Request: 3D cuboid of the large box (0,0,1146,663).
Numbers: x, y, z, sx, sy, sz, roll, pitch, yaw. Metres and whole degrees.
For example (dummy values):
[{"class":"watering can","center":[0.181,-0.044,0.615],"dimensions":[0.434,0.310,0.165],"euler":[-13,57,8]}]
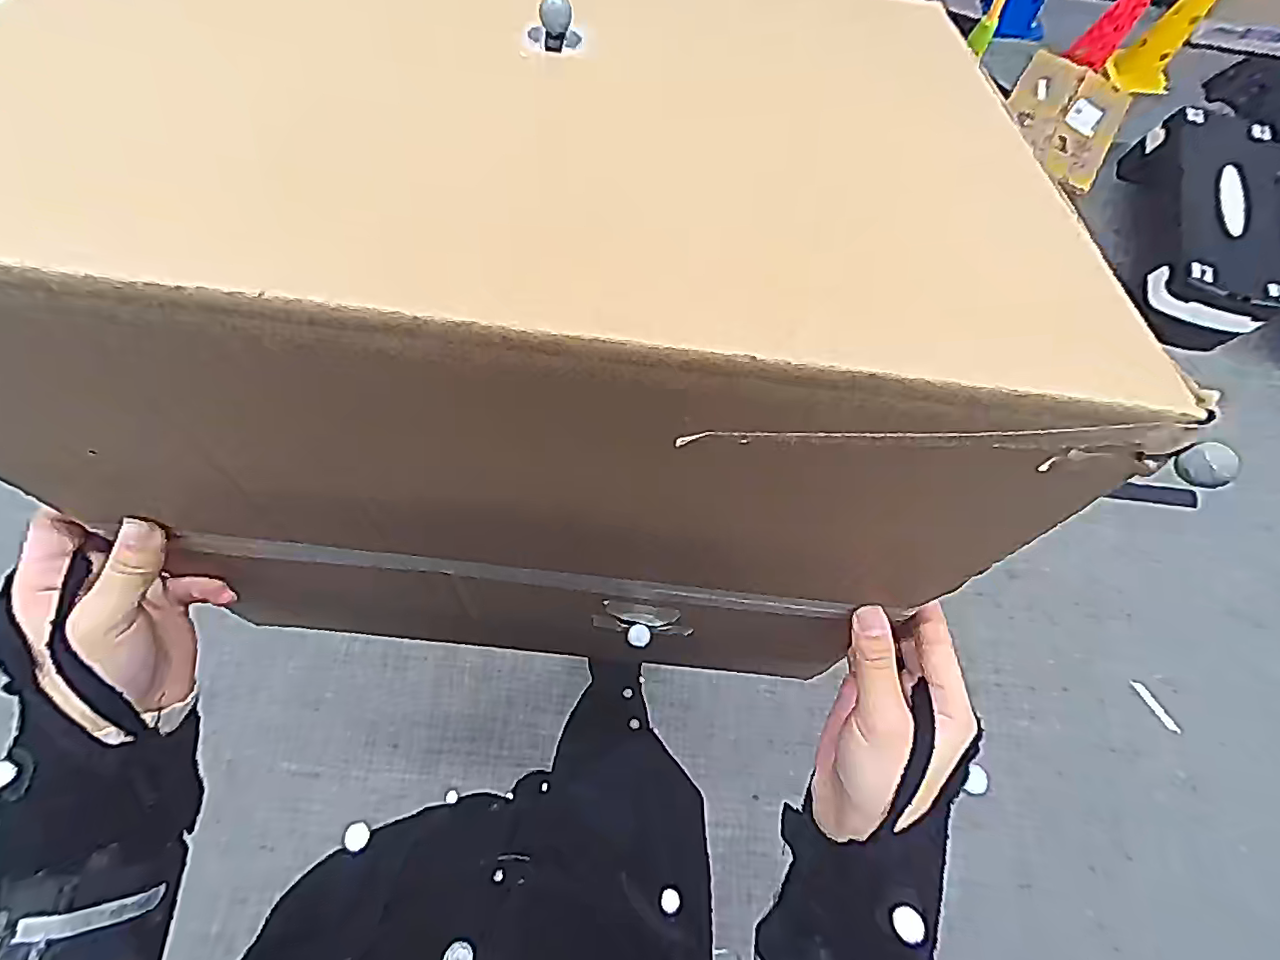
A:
[{"class":"large box","center":[-0.050,-0.086,0.358],"dimensions":[0.408,0.320,0.320],"euler":[6,59,-2]}]
